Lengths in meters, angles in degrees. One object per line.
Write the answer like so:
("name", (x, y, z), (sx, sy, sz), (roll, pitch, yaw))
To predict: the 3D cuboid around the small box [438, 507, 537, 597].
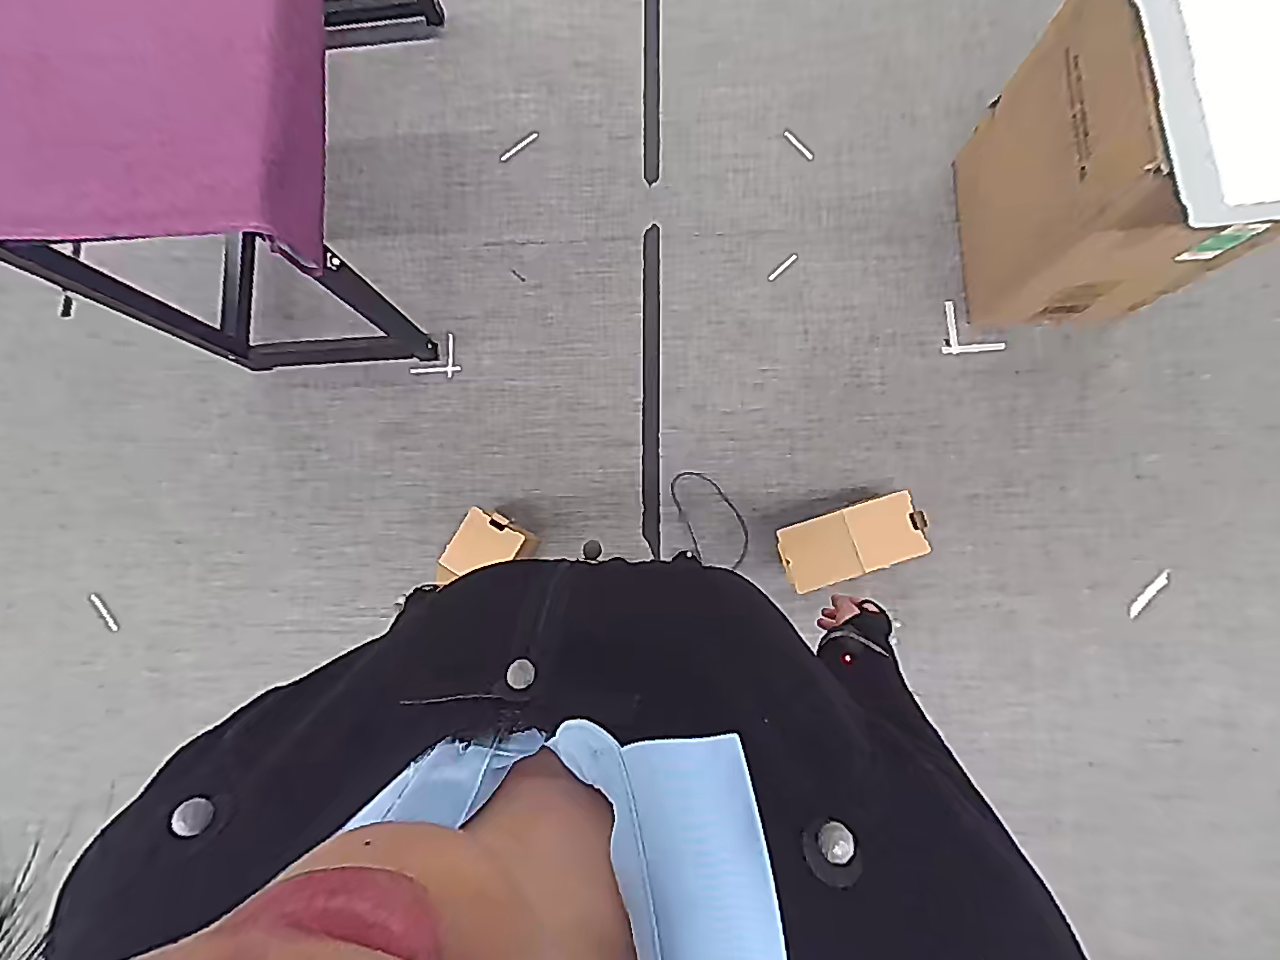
("small box", (-0.397, 0.192, 1.446), (0.168, 0.176, 0.179), (30, 84, 6))
